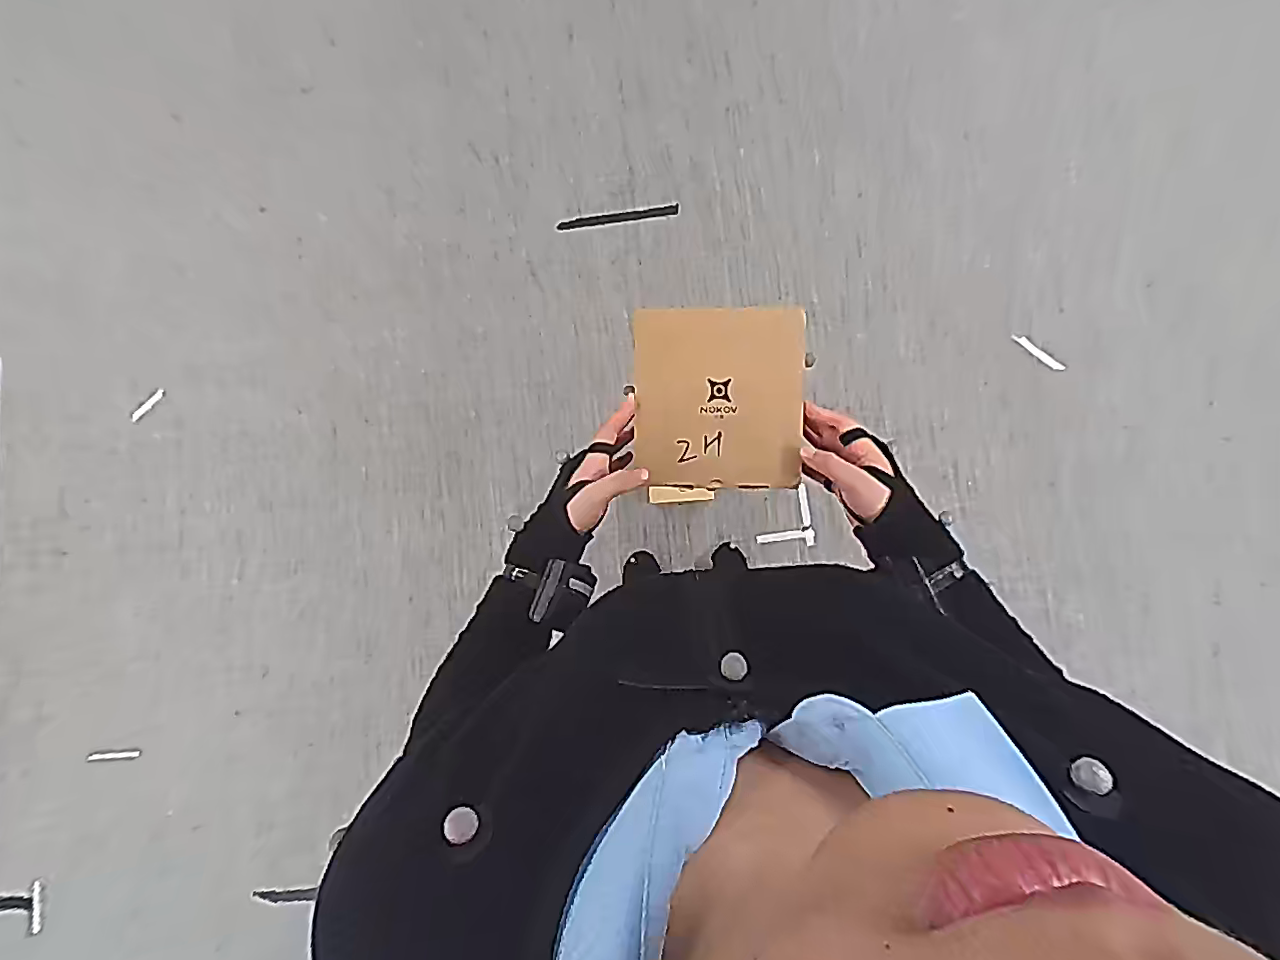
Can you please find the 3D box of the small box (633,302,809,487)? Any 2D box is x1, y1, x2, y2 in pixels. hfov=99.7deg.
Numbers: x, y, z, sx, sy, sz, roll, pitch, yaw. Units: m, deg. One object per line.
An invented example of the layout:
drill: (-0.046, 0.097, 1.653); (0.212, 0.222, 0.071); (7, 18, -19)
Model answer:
small box: (0.083, -0.089, 0.599); (0.168, 0.176, 0.179); (1, 96, 5)
